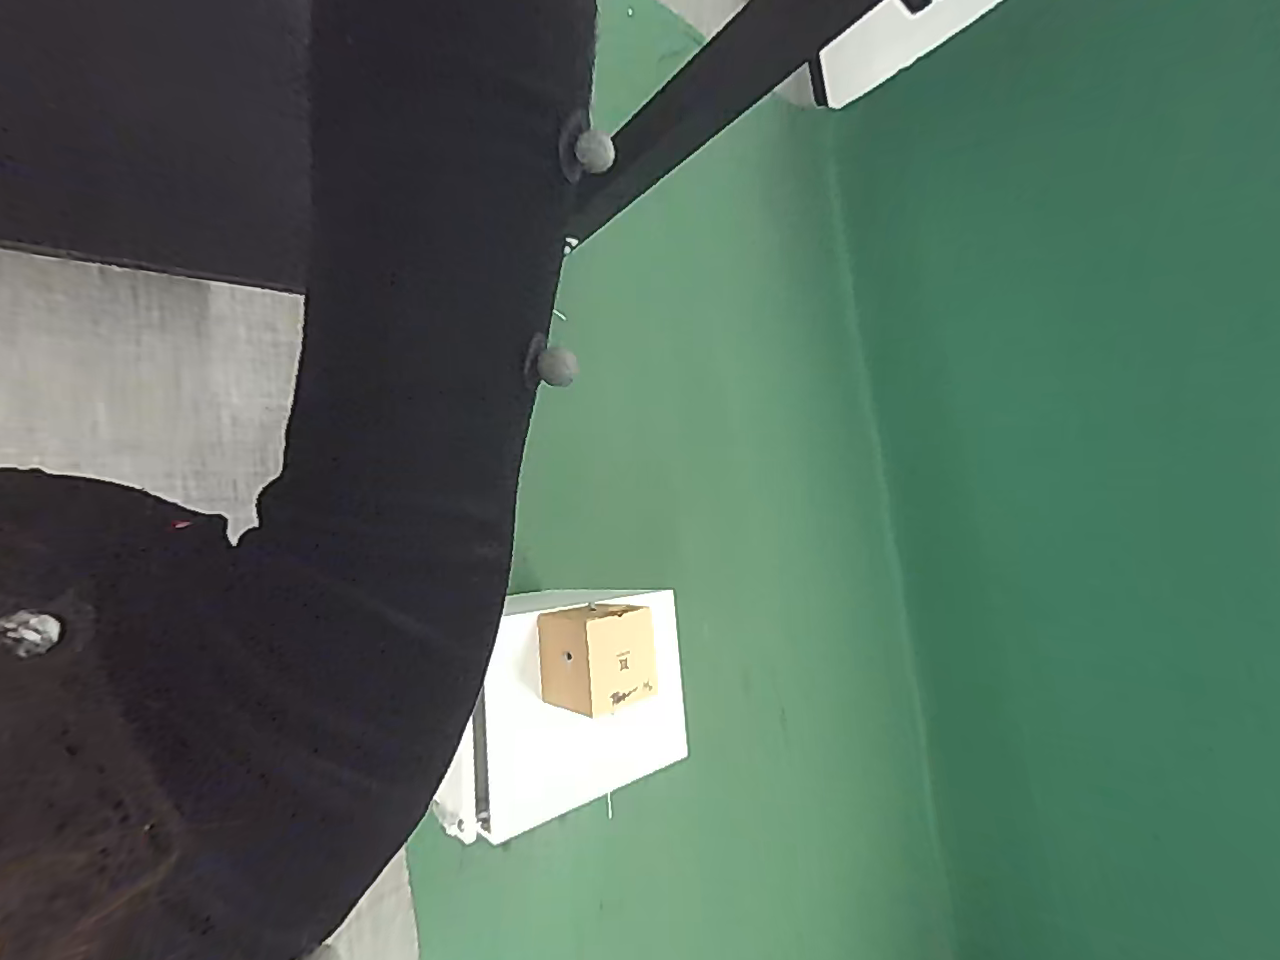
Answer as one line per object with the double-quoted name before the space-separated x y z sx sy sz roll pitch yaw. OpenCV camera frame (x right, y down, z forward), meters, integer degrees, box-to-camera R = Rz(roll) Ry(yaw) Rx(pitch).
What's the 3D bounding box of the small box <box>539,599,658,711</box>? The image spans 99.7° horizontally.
"small box" -0.087 0.334 1.070 0.168 0.176 0.179 0 83 -42
